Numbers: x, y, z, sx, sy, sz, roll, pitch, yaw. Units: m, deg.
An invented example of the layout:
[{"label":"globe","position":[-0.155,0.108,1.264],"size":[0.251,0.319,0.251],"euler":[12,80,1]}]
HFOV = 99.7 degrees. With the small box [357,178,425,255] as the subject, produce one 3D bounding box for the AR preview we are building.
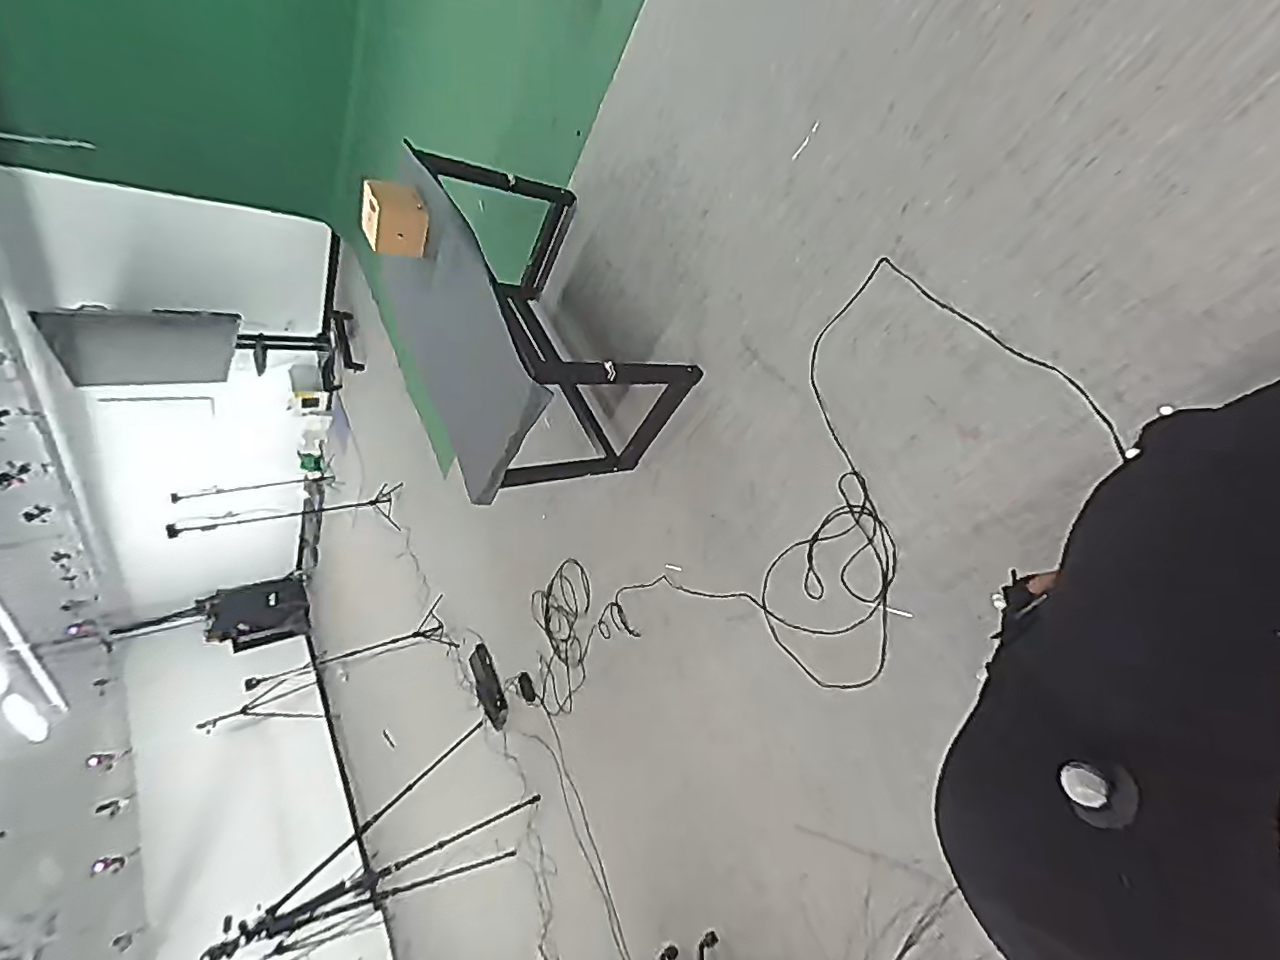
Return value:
[{"label":"small box","position":[-0.872,-0.920,1.898],"size":[0.168,0.176,0.179],"euler":[58,137,22]}]
